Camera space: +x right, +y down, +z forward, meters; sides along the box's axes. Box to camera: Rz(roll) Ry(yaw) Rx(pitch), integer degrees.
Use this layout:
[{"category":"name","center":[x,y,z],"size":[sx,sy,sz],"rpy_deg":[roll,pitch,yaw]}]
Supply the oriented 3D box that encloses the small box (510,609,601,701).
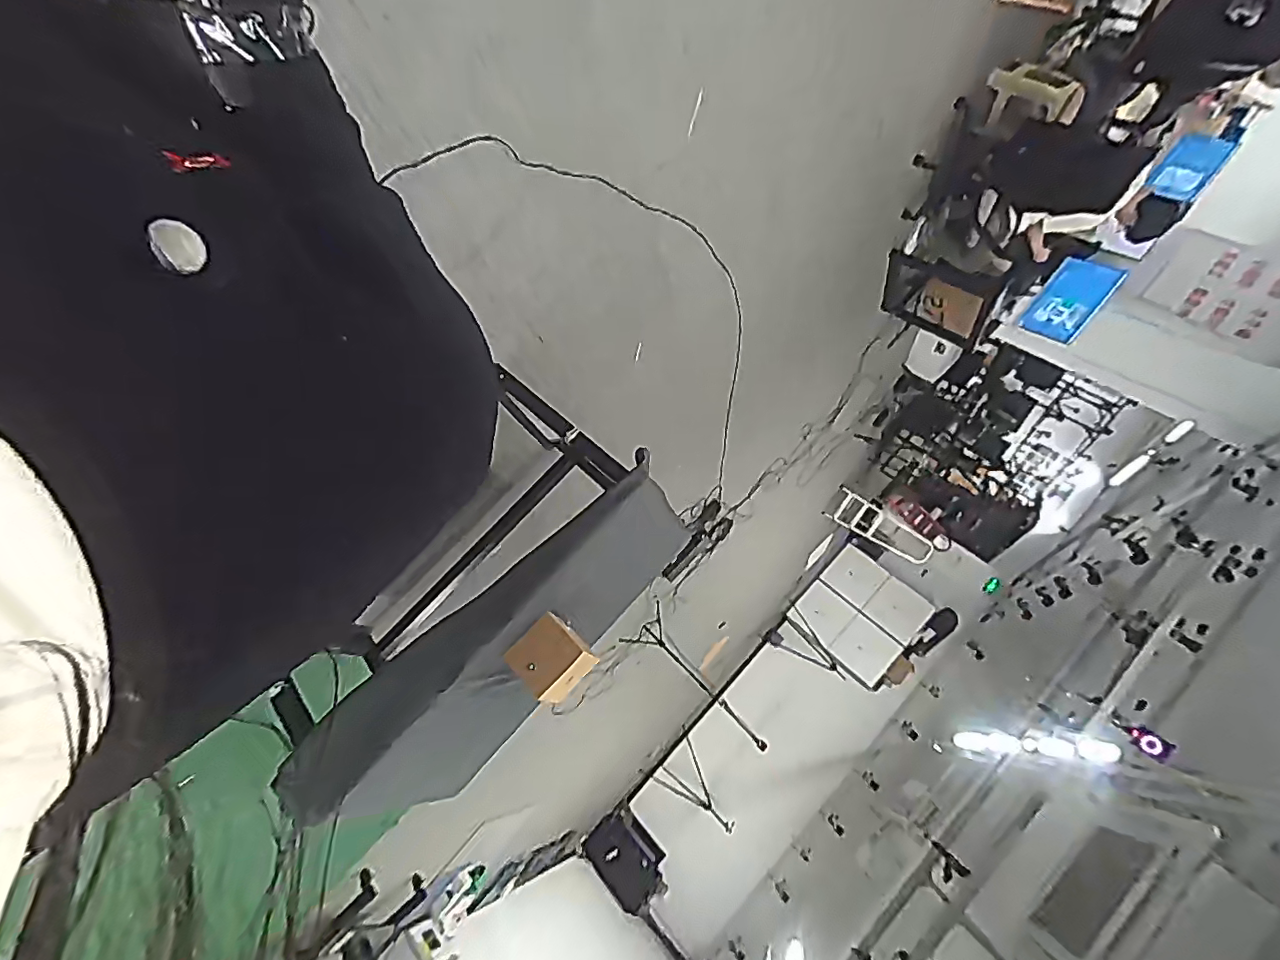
[{"category":"small box","center":[-0.246,0.501,1.546],"size":[0.179,0.176,0.168],"rpy_deg":[-47,154,-10]}]
